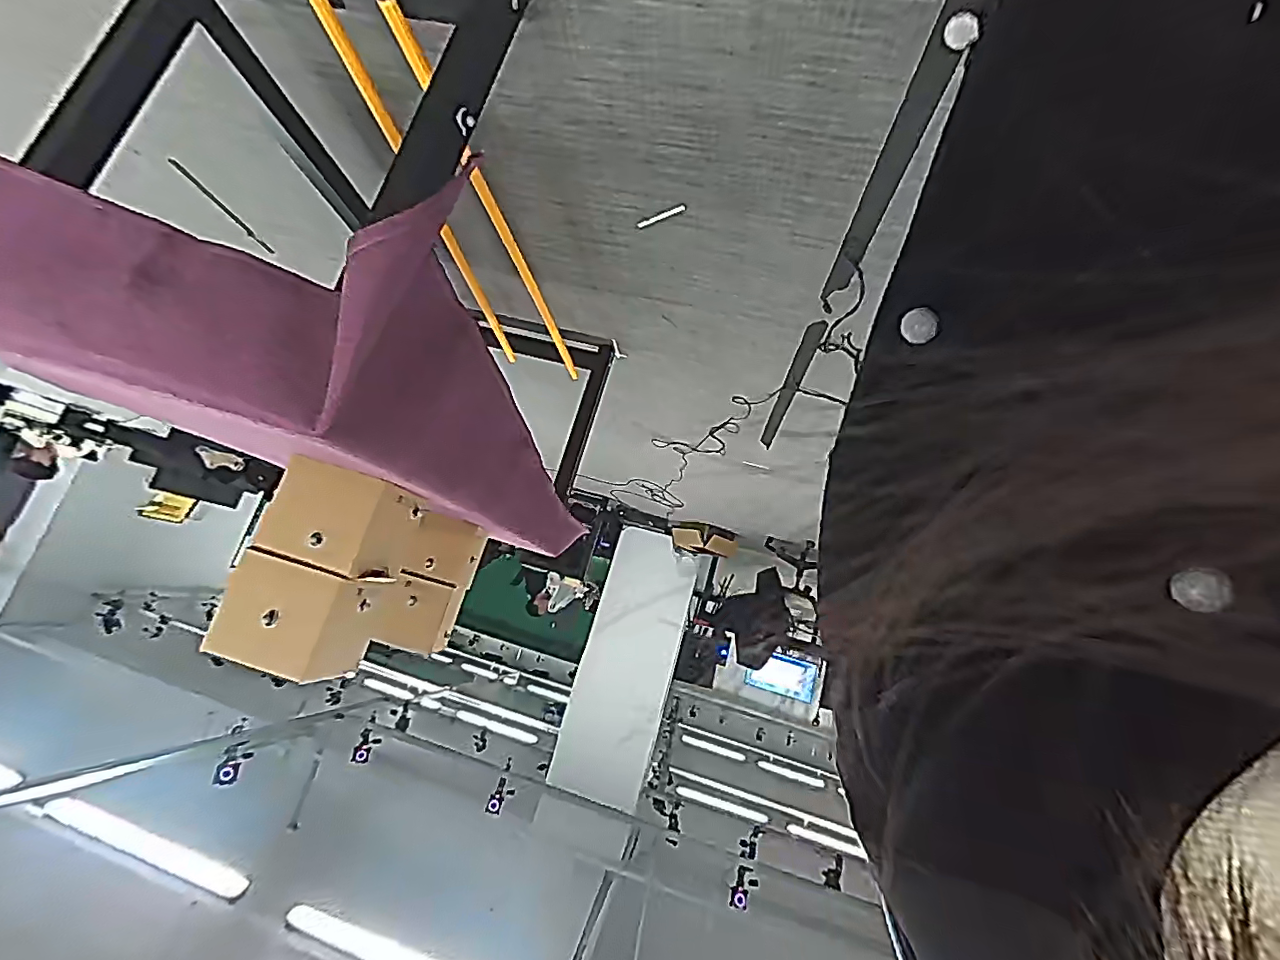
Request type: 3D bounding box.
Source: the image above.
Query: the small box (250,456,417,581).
[{"bbox_3d":[-0.518,0.070,0.948,0.179,0.176,0.168,16,167,5],"label":"small box"}]

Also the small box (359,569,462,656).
[{"bbox_3d":[-0.565,0.326,1.358,0.168,0.176,0.179,17,166,-4],"label":"small box"}]

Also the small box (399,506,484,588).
[{"bbox_3d":[-0.518,0.175,1.401,0.179,0.176,0.168,18,166,-3],"label":"small box"}]
